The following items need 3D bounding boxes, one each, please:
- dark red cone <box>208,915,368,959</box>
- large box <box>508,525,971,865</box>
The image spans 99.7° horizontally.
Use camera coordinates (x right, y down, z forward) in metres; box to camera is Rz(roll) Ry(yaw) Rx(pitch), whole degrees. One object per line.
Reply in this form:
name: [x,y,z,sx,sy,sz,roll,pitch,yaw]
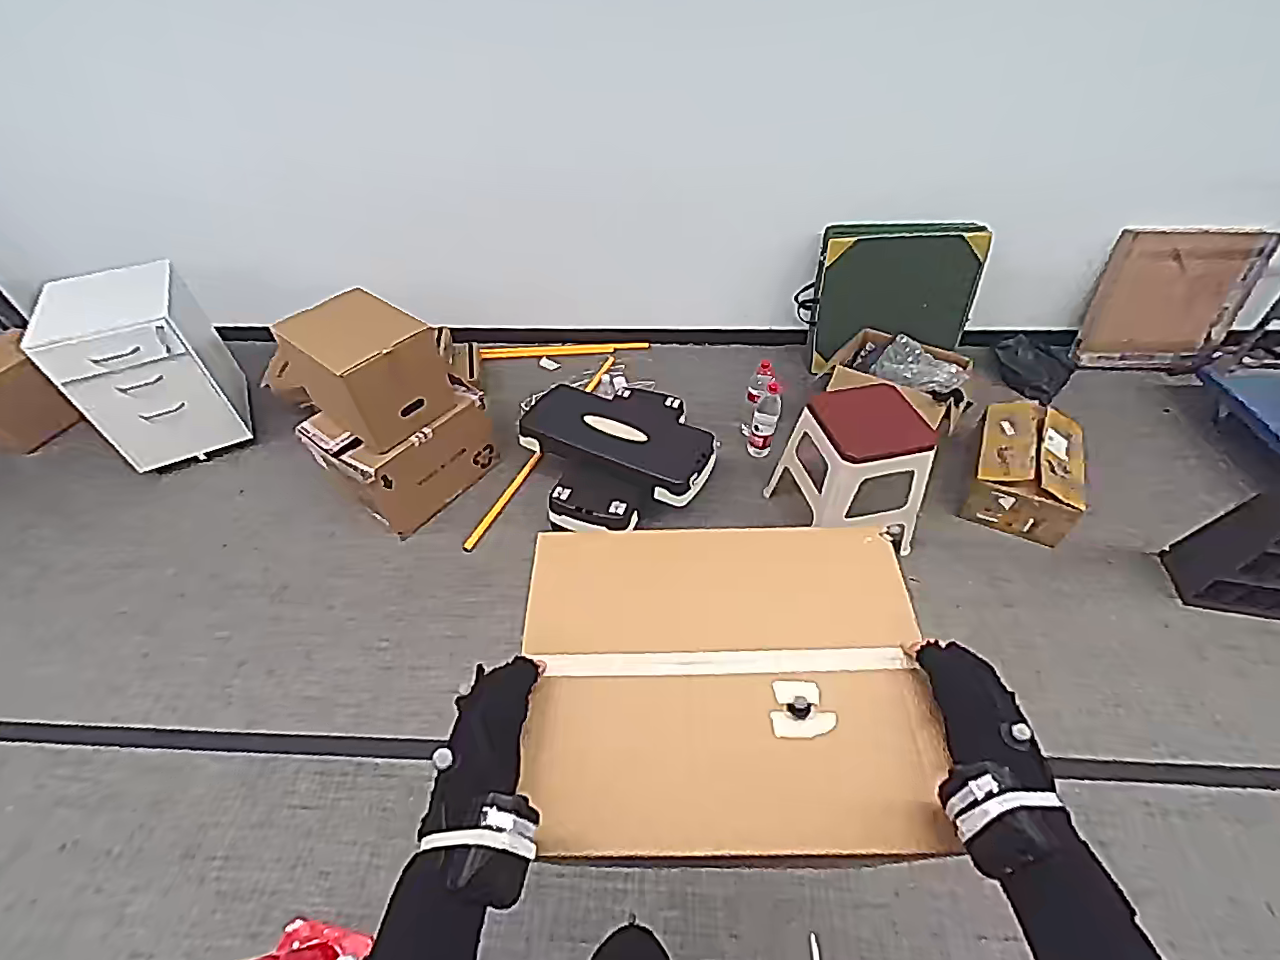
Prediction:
dark red cone: [-0.666,0.884,0.948,0.201,0.394,0.202,6,47,6]
large box: [0.084,0.271,0.663,0.408,0.320,0.320,-1,53,1]
